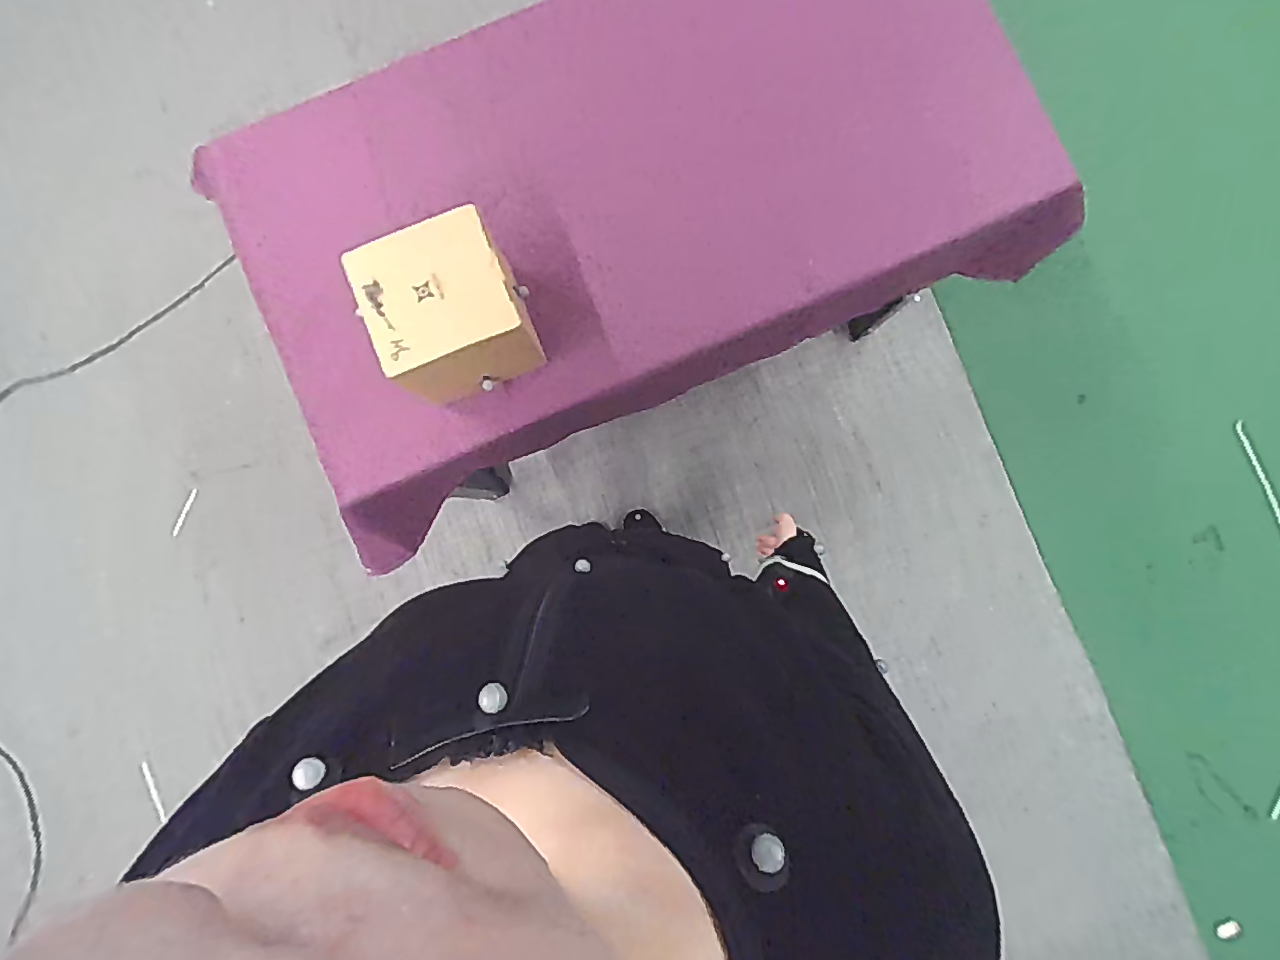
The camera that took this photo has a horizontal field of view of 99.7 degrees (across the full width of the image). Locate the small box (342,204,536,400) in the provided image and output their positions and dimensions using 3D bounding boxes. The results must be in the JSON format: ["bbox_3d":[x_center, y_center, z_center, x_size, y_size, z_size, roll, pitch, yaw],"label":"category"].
[{"bbox_3d":[-0.251,-0.225,0.727,0.179,0.176,0.168,-21,86,-1],"label":"small box"}]
